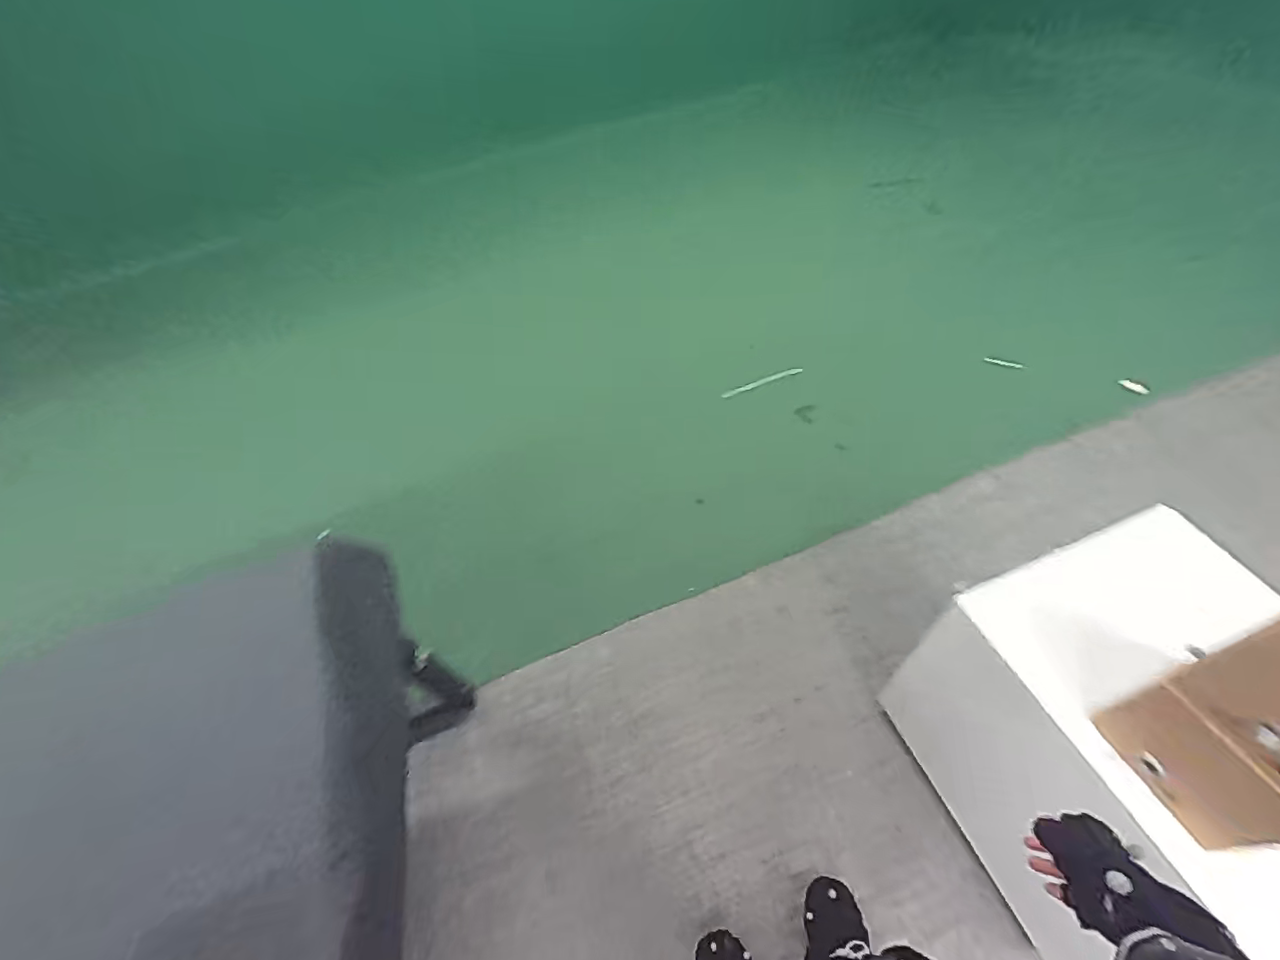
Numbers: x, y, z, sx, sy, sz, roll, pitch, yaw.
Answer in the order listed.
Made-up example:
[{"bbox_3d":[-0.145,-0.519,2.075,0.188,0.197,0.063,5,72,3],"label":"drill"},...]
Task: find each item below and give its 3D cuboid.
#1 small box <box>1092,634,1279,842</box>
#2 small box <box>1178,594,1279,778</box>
[{"bbox_3d":[0.677,0.278,0.609,0.179,0.176,0.168,-25,53,-7],"label":"small box"},{"bbox_3d":[0.658,0.177,0.480,0.179,0.176,0.168,-26,54,-11],"label":"small box"}]
